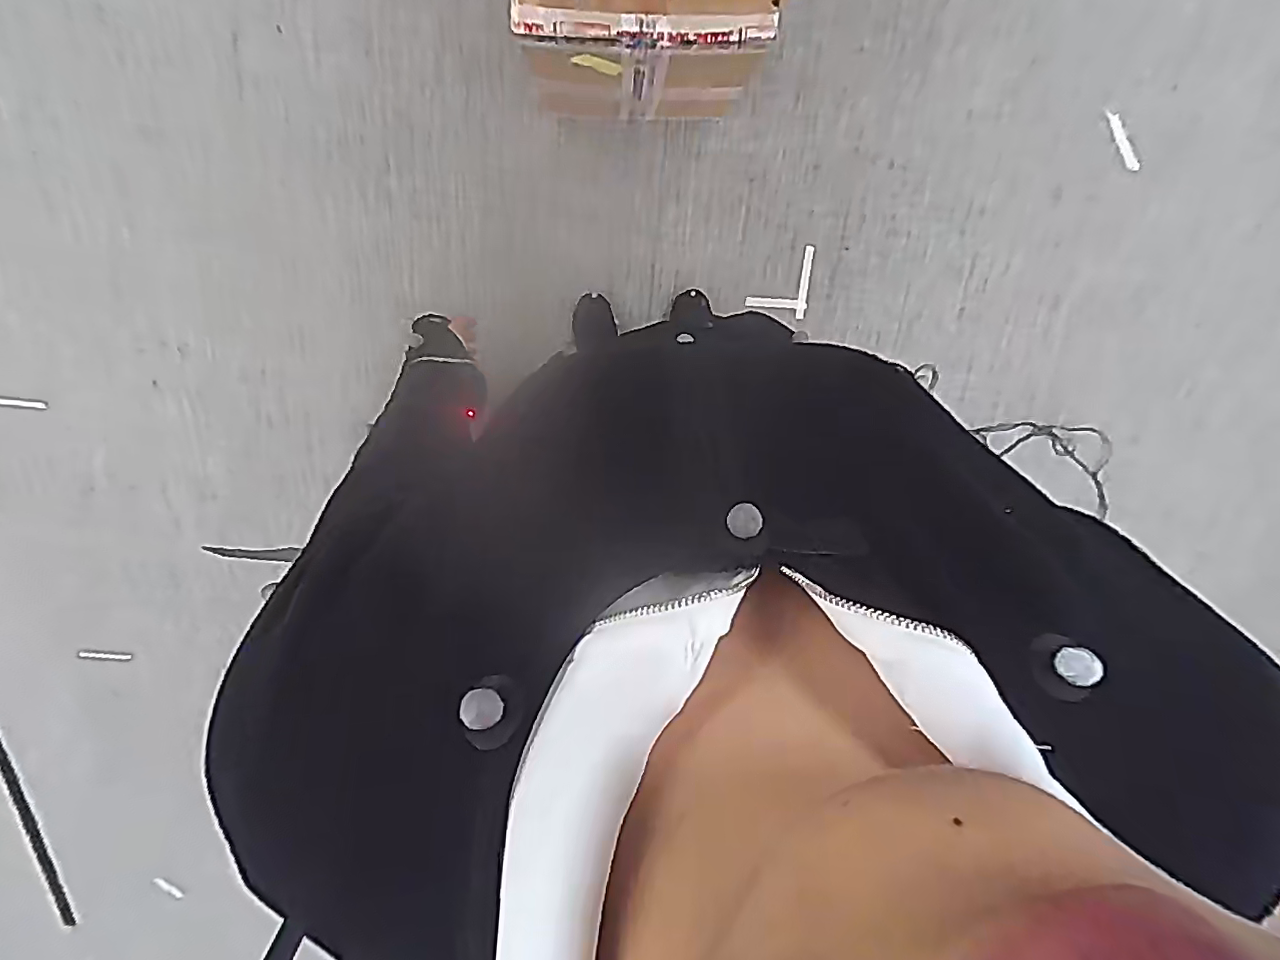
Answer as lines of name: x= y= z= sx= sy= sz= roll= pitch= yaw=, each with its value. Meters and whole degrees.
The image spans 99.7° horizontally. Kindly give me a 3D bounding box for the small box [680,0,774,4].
small box: x=0.135 y=-0.729 z=0.671 sx=0.179 sy=0.176 sz=0.168 roll=-2 pitch=113 yaw=-2
